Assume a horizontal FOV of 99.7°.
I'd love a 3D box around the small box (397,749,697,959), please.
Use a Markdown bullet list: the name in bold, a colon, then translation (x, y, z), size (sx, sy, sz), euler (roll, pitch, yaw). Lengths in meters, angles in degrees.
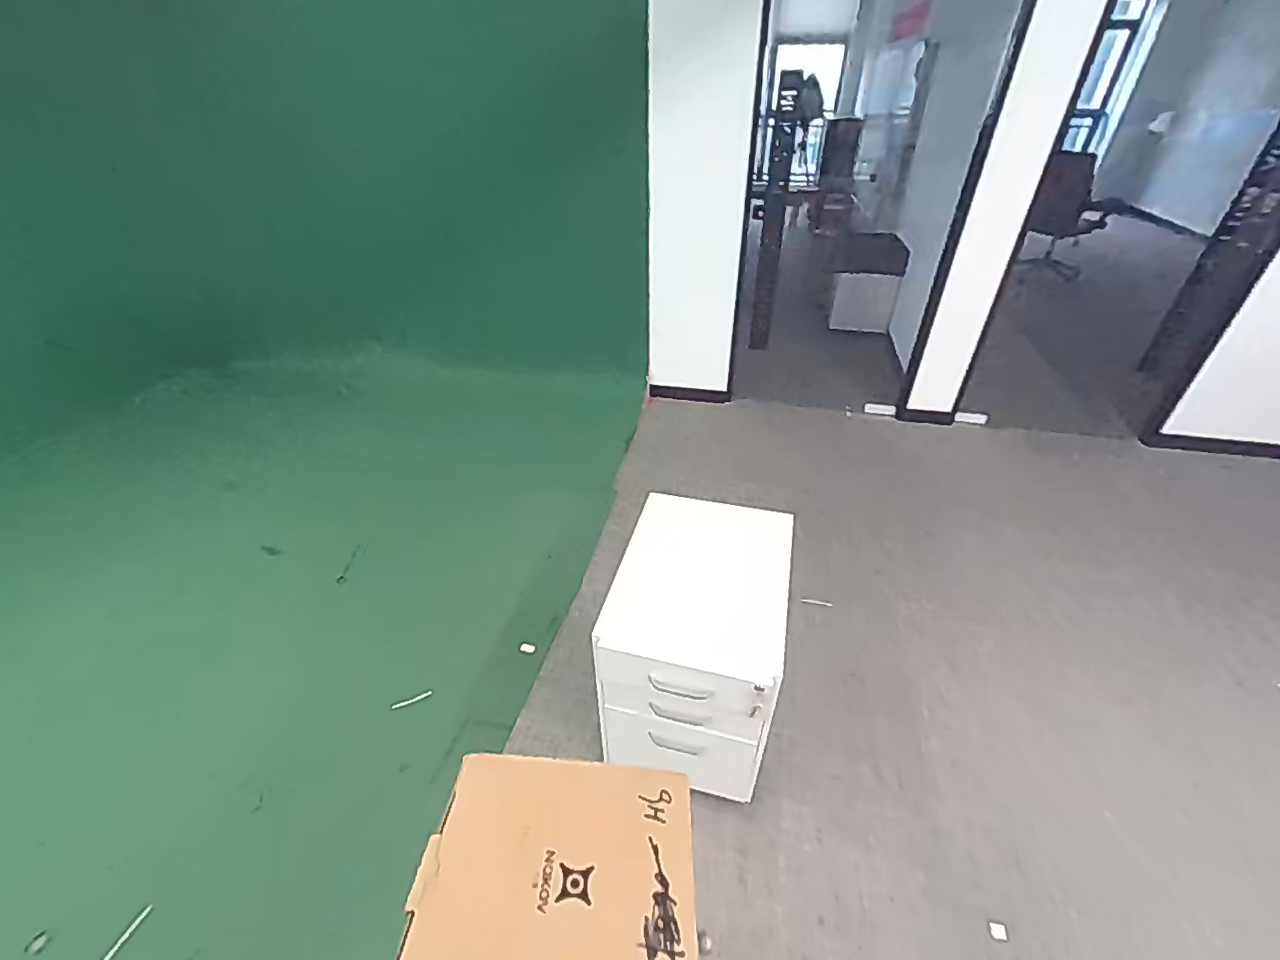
- **small box**: translation (-0.058, 0.328, 0.393), size (0.179, 0.176, 0.168), euler (6, 29, -1)
